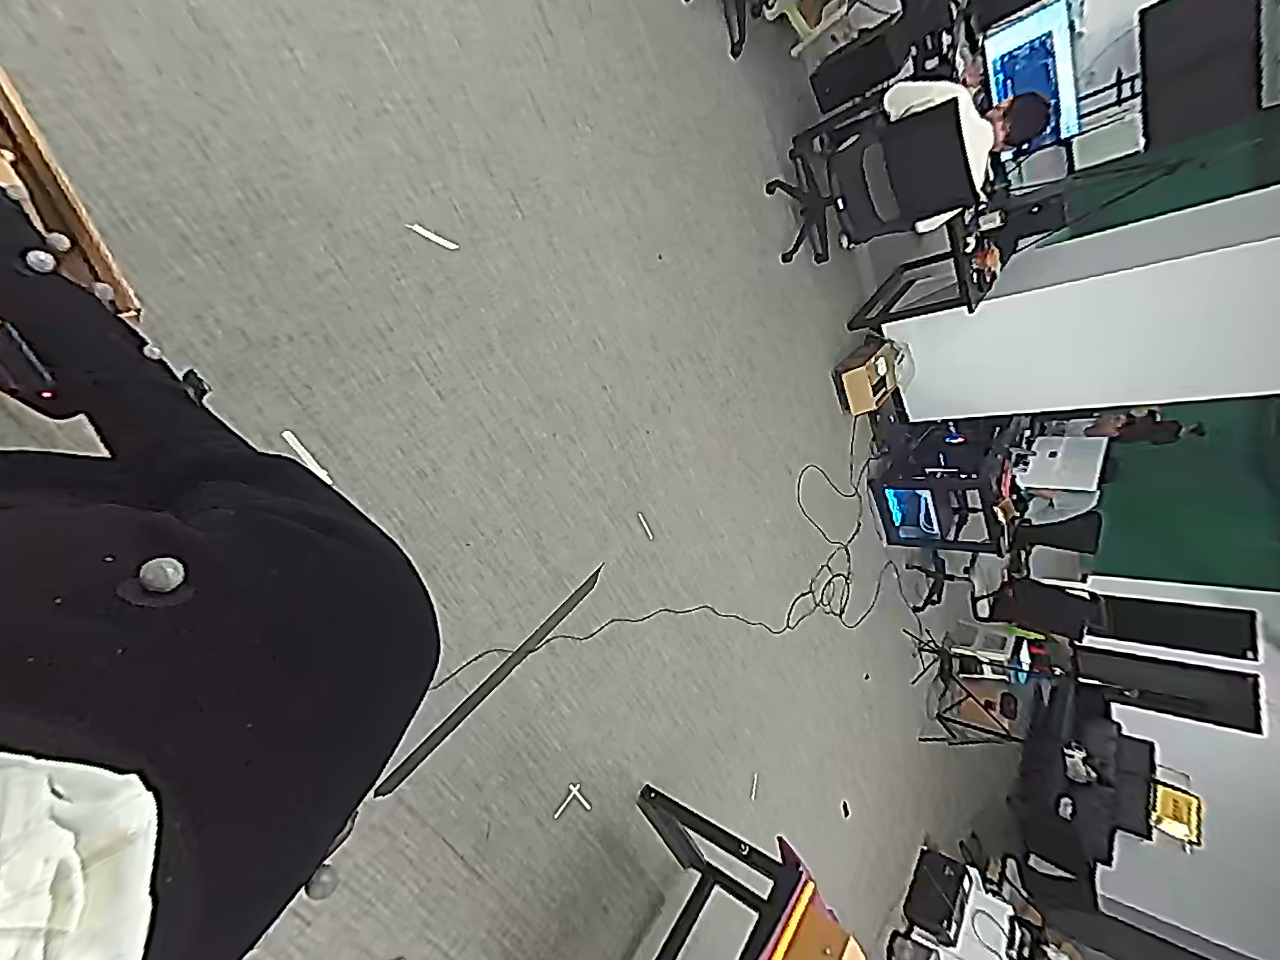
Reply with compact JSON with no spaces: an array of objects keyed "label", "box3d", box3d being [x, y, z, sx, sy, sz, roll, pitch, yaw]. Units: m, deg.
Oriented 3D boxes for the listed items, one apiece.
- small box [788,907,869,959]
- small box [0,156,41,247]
[{"label":"small box","box3d":[0.580,1.493,1.676,0.179,0.176,0.168,-44,118,-32]},{"label":"small box","box3d":[-0.841,-0.358,0.602,0.179,0.176,0.168,-37,113,-36]}]
